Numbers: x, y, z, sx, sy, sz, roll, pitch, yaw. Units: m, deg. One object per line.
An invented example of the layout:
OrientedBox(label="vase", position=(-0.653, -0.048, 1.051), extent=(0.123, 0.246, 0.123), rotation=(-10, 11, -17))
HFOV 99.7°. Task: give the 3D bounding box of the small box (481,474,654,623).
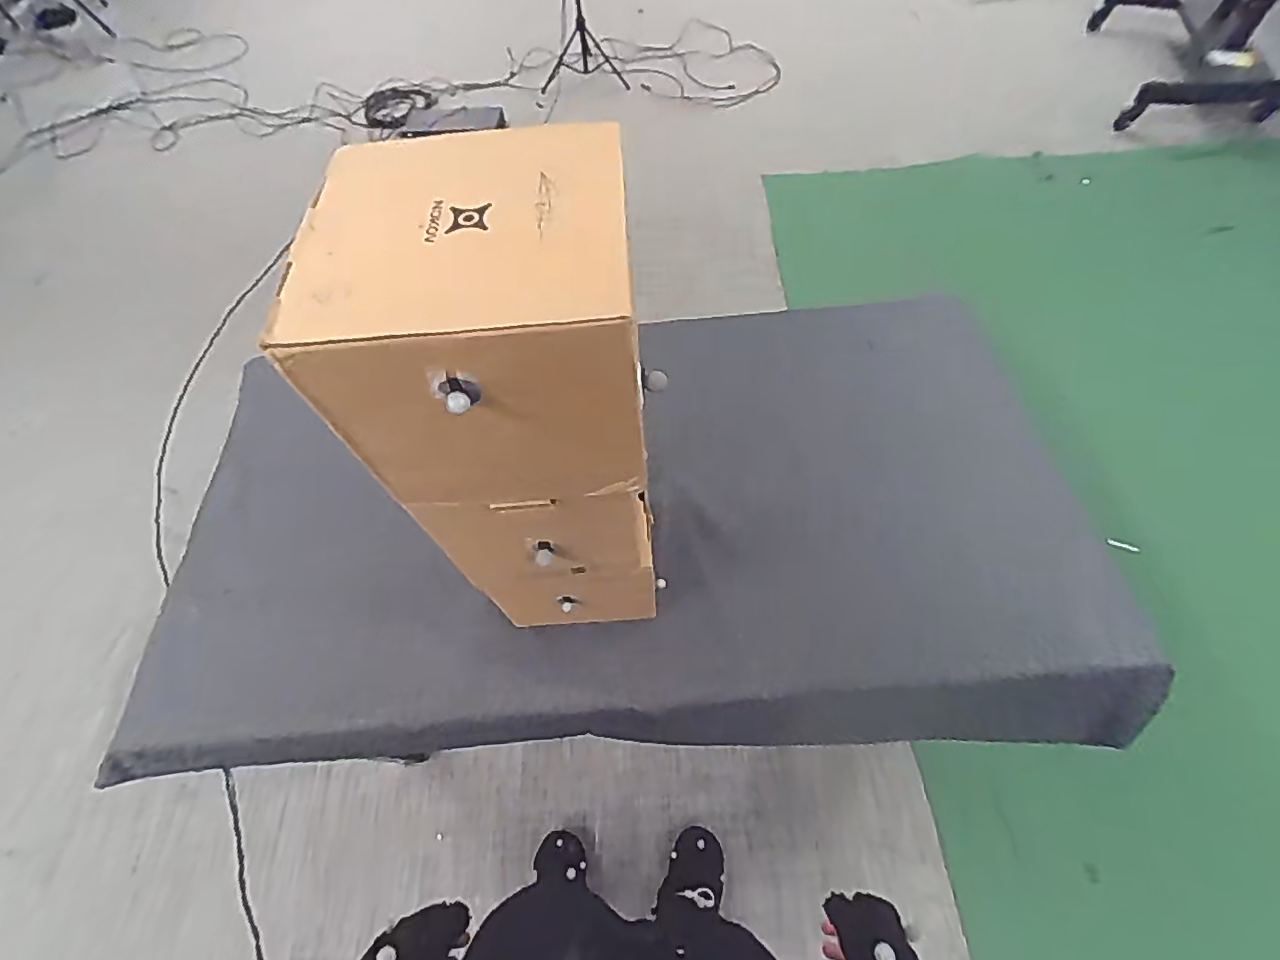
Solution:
OrientedBox(label="small box", position=(-0.074, 0.067, 0.653), extent=(0.179, 0.176, 0.168), rotation=(-5, 59, 2))

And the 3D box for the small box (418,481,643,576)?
OrientedBox(label="small box", position=(-0.087, -0.016, 0.513), extent=(0.168, 0.176, 0.179), rotation=(-5, 59, 0))

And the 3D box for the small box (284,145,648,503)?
OrientedBox(label="small box", position=(-0.088, -0.093, 0.370), extent=(0.179, 0.176, 0.168), rotation=(-4, 60, 0))
